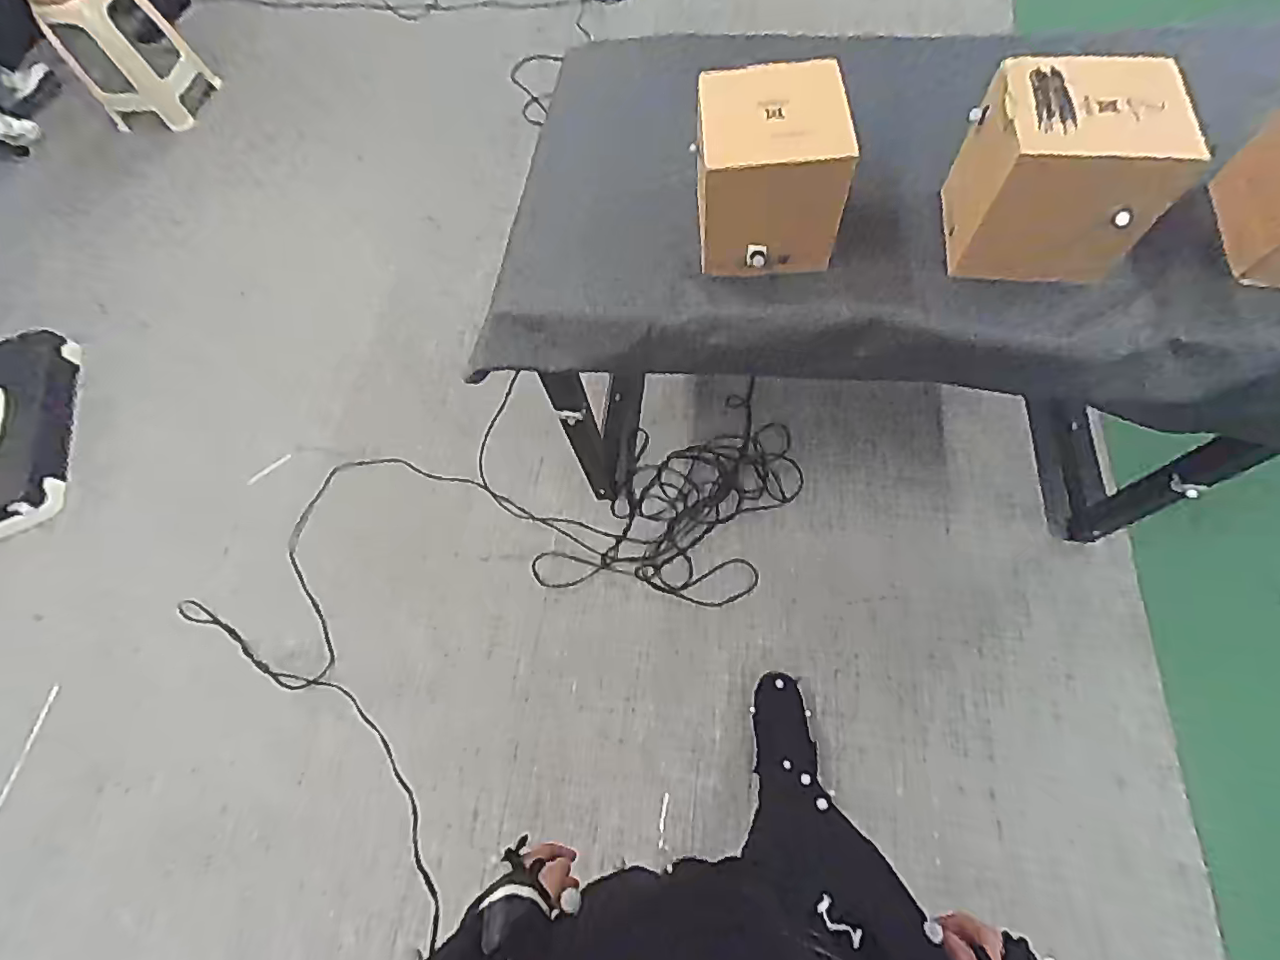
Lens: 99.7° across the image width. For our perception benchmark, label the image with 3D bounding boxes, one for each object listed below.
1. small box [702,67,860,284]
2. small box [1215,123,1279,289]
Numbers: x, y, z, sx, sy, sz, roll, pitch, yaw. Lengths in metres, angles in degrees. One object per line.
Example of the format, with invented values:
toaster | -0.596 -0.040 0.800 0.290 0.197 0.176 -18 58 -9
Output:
small box | 0.164 -0.380 0.692 0.168 0.176 0.179 -3 66 6
small box | 0.807 -0.331 0.599 0.168 0.176 0.179 8 67 10
